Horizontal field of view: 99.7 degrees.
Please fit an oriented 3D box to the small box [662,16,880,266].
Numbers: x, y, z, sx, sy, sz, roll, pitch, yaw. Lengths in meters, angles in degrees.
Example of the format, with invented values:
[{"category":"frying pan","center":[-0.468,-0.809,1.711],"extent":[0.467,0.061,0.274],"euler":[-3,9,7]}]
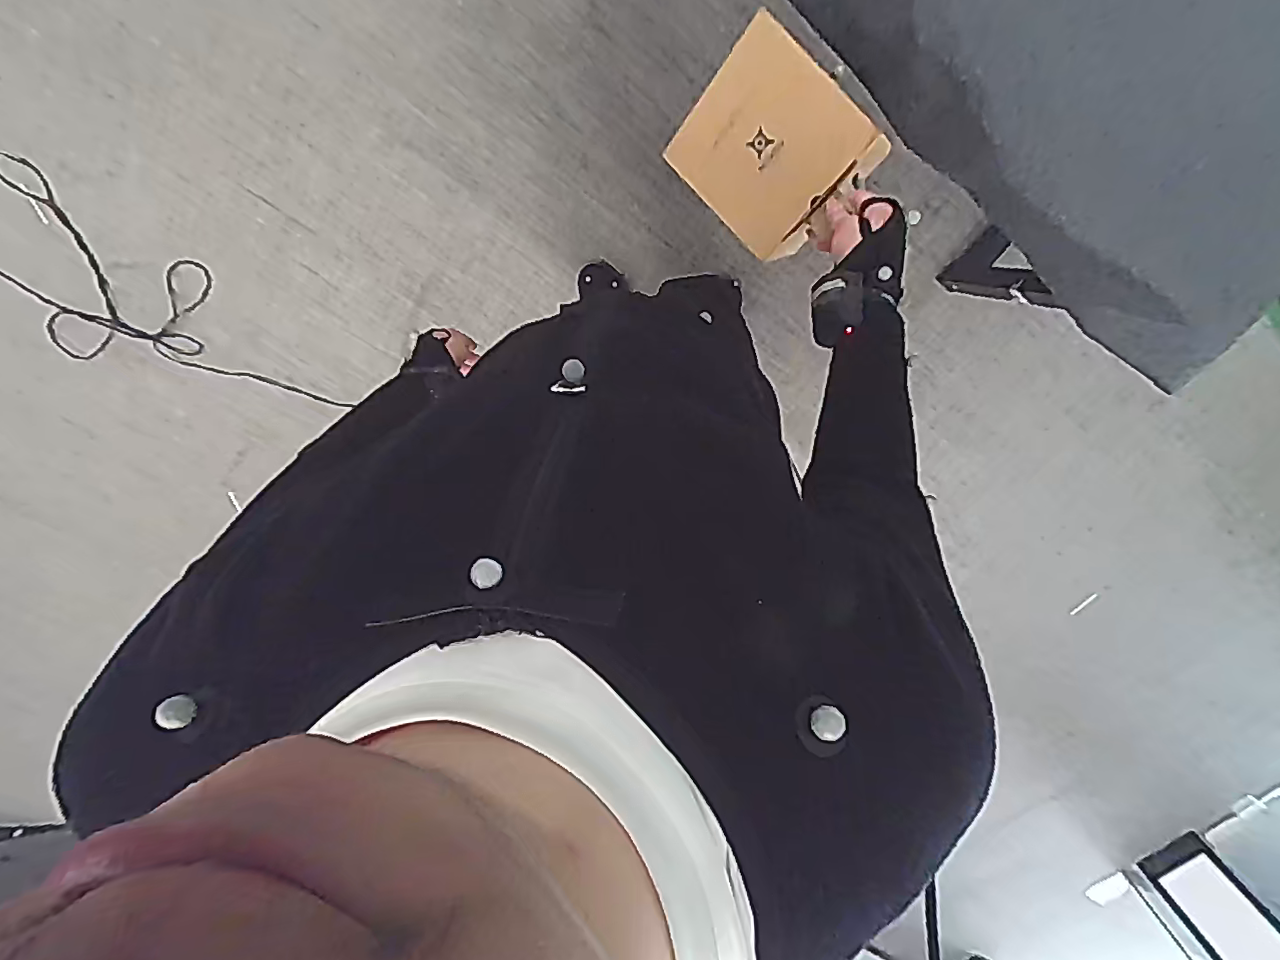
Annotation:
[{"category":"small box","center":[0.164,-0.385,0.644],"extent":[0.179,0.176,0.168],"euler":[46,124,0]}]
